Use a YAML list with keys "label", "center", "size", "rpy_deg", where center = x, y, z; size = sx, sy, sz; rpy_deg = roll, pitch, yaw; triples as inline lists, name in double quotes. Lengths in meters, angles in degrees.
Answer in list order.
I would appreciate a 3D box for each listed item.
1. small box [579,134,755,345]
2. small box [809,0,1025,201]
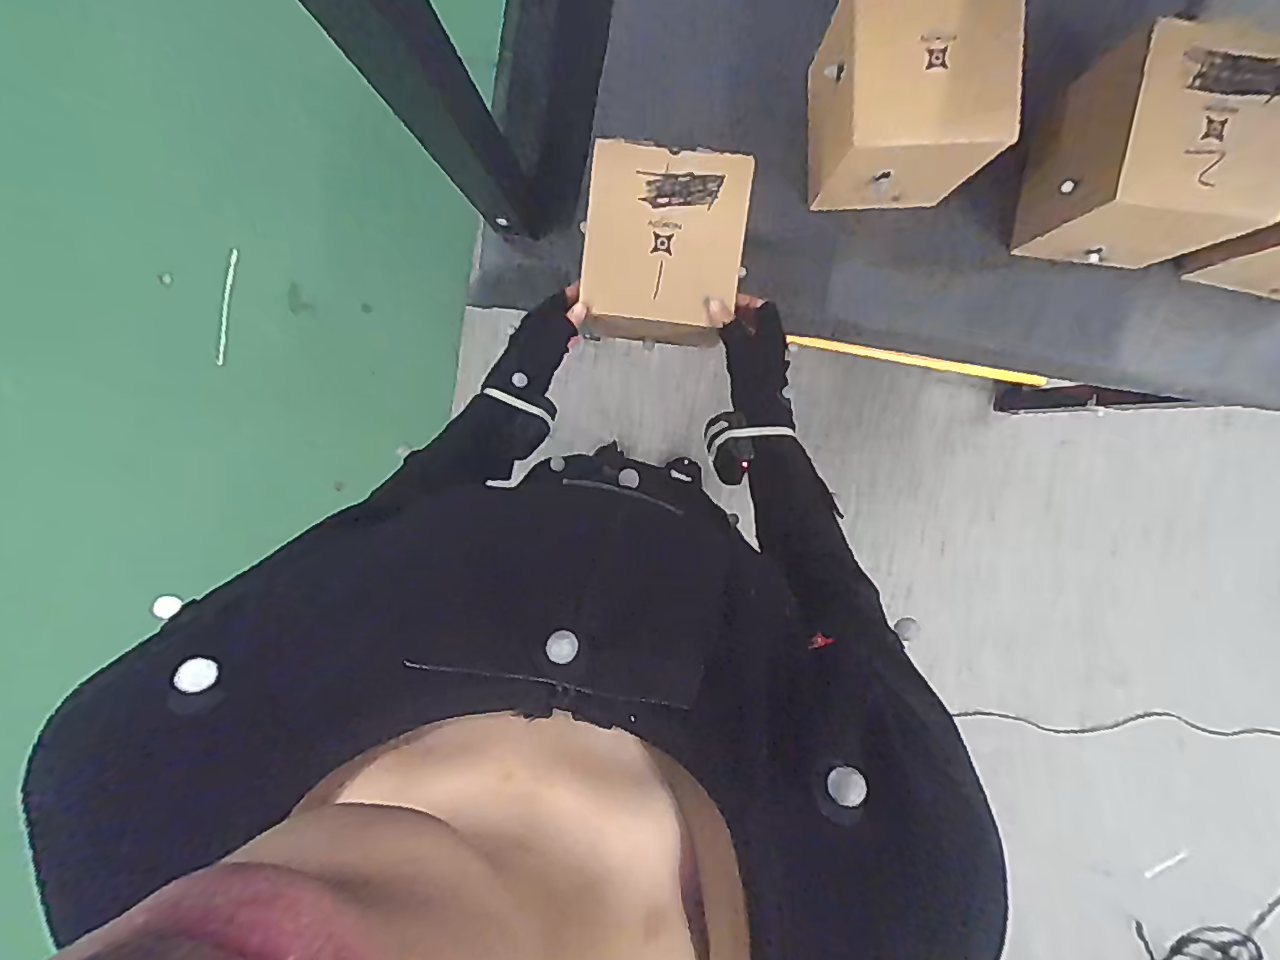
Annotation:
- label: "small box"
  center: [0.028, -0.266, 0.638]
  size: [0.168, 0.176, 0.179]
  rpy_deg: [7, 98, 1]
- label: "small box"
  center: [0.296, -0.434, 0.613]
  size: [0.168, 0.176, 0.179]
  rpy_deg: [-1, 95, 2]
